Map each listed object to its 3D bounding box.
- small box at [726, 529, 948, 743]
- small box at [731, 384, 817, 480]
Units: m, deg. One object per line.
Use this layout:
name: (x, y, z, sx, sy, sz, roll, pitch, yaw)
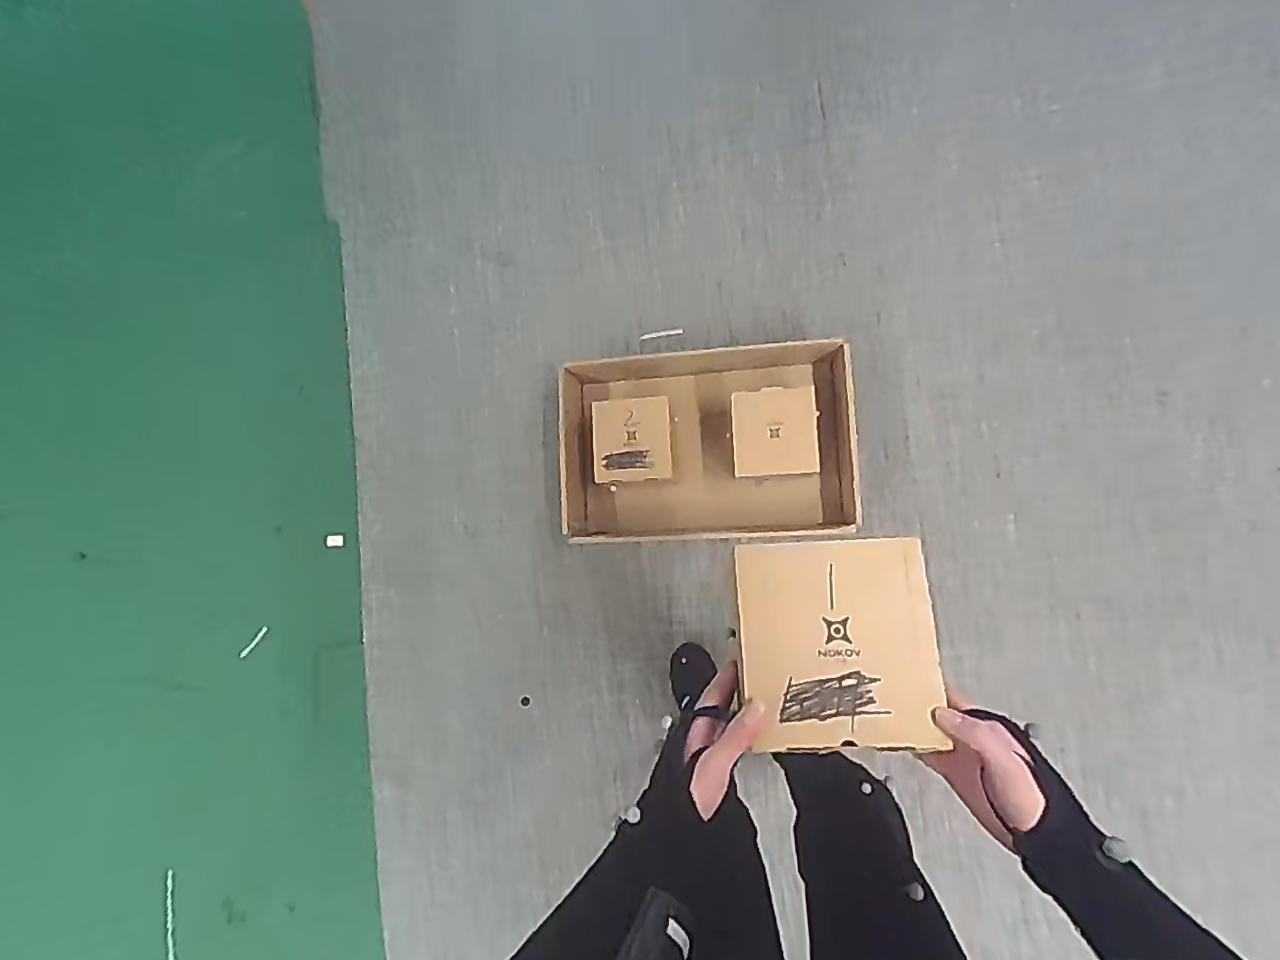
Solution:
small box: (0.176, 0.150, 0.542, 0.168, 0.176, 0.179, -3, 75, 5)
small box: (0.278, -0.095, 1.149, 0.168, 0.176, 0.179, -3, 86, 11)
